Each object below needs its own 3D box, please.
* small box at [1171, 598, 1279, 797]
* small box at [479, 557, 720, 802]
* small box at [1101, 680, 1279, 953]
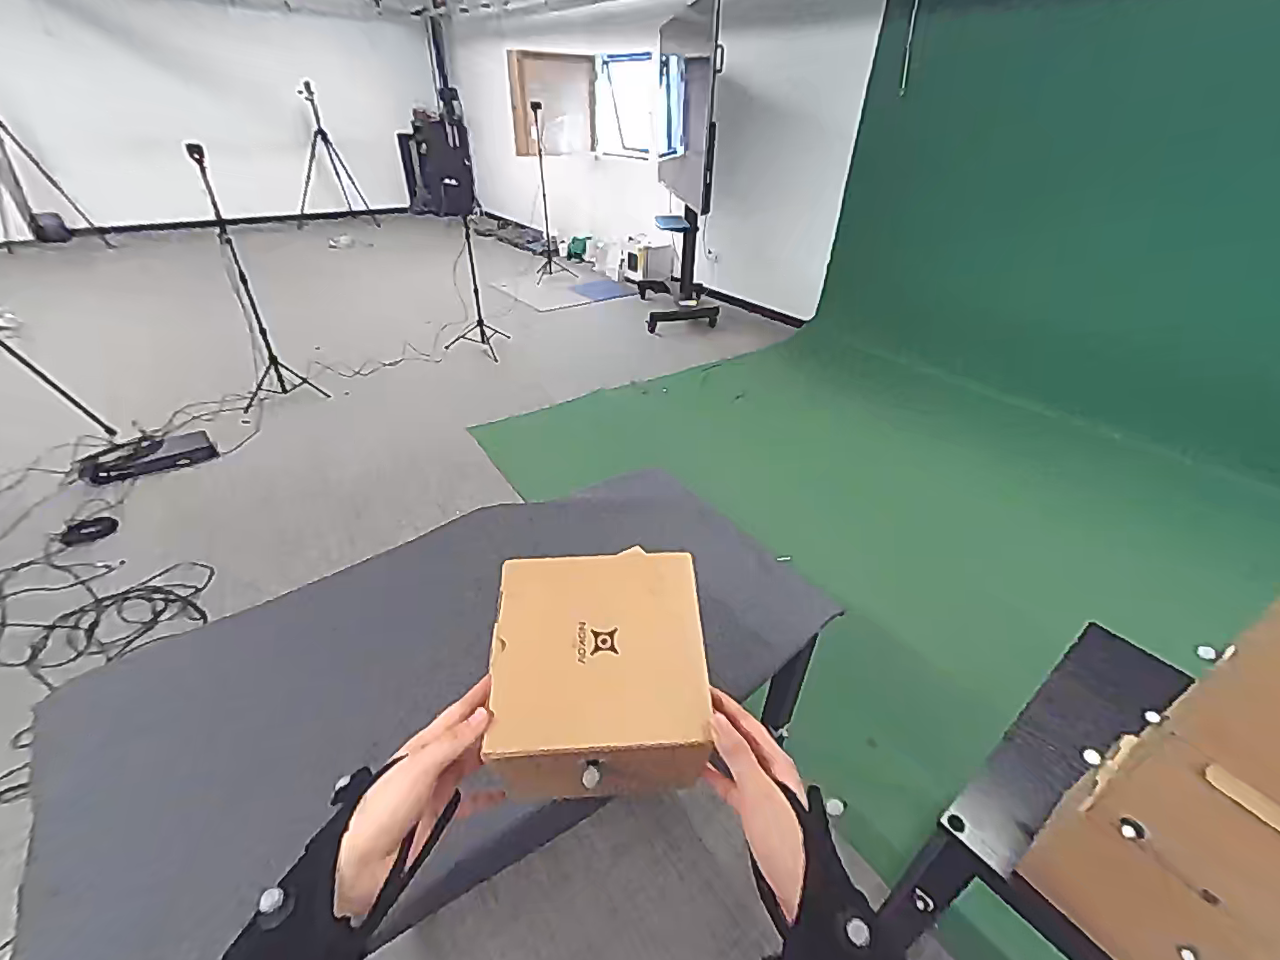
[{"bbox_3d":[0.617,0.187,0.447,0.168,0.176,0.179,-18,40,-29],"label":"small box"},{"bbox_3d":[-0.033,0.186,0.499,0.179,0.176,0.168,-3,50,-2],"label":"small box"},{"bbox_3d":[0.620,0.317,0.545,0.179,0.176,0.168,-20,41,-29],"label":"small box"}]
